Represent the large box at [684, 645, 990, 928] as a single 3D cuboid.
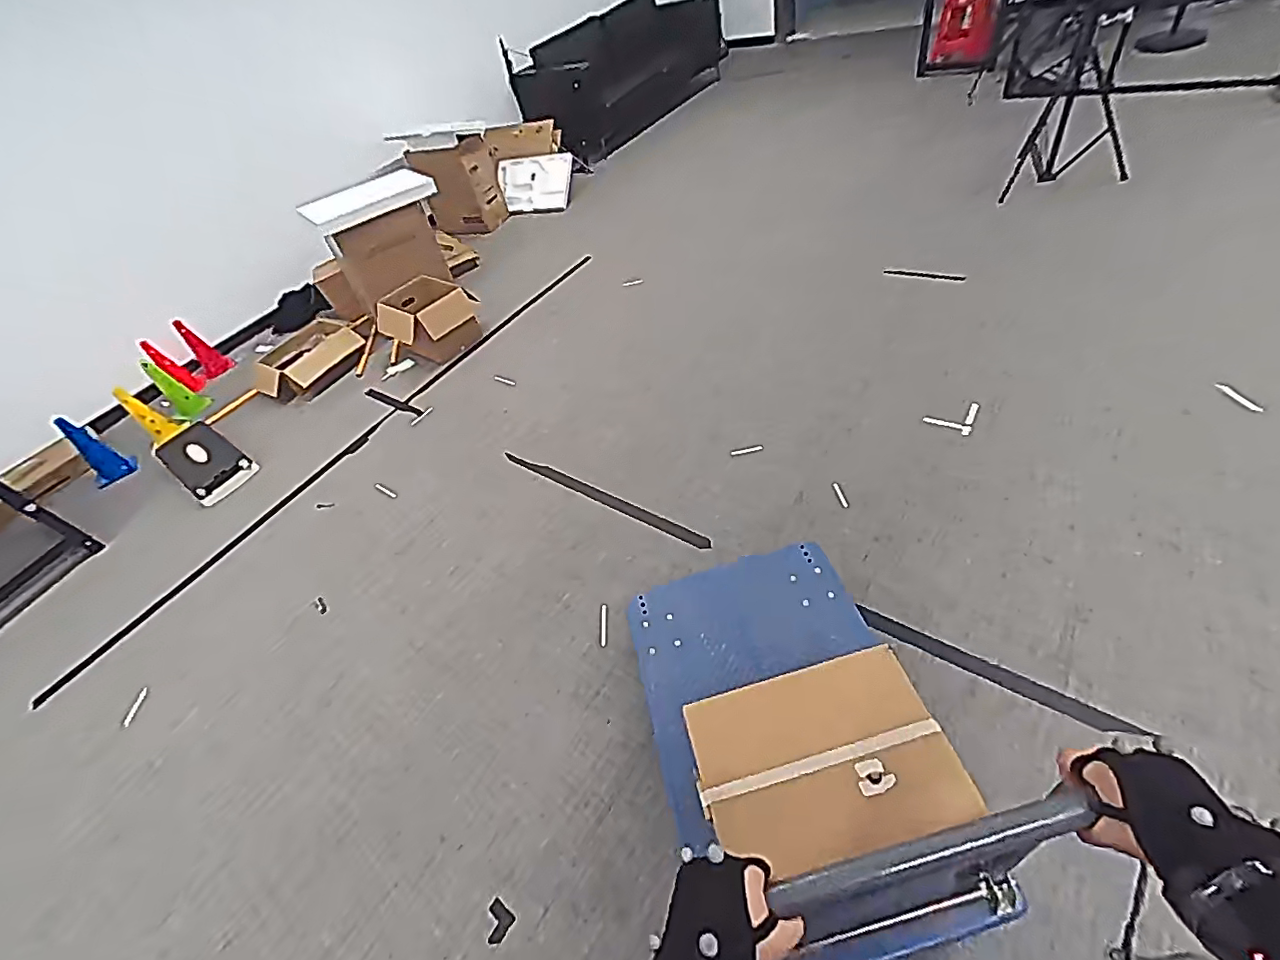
[{"bbox_3d":[0.330,0.572,1.009,0.408,0.320,0.320,-17,46,-1],"label":"large box"}]
